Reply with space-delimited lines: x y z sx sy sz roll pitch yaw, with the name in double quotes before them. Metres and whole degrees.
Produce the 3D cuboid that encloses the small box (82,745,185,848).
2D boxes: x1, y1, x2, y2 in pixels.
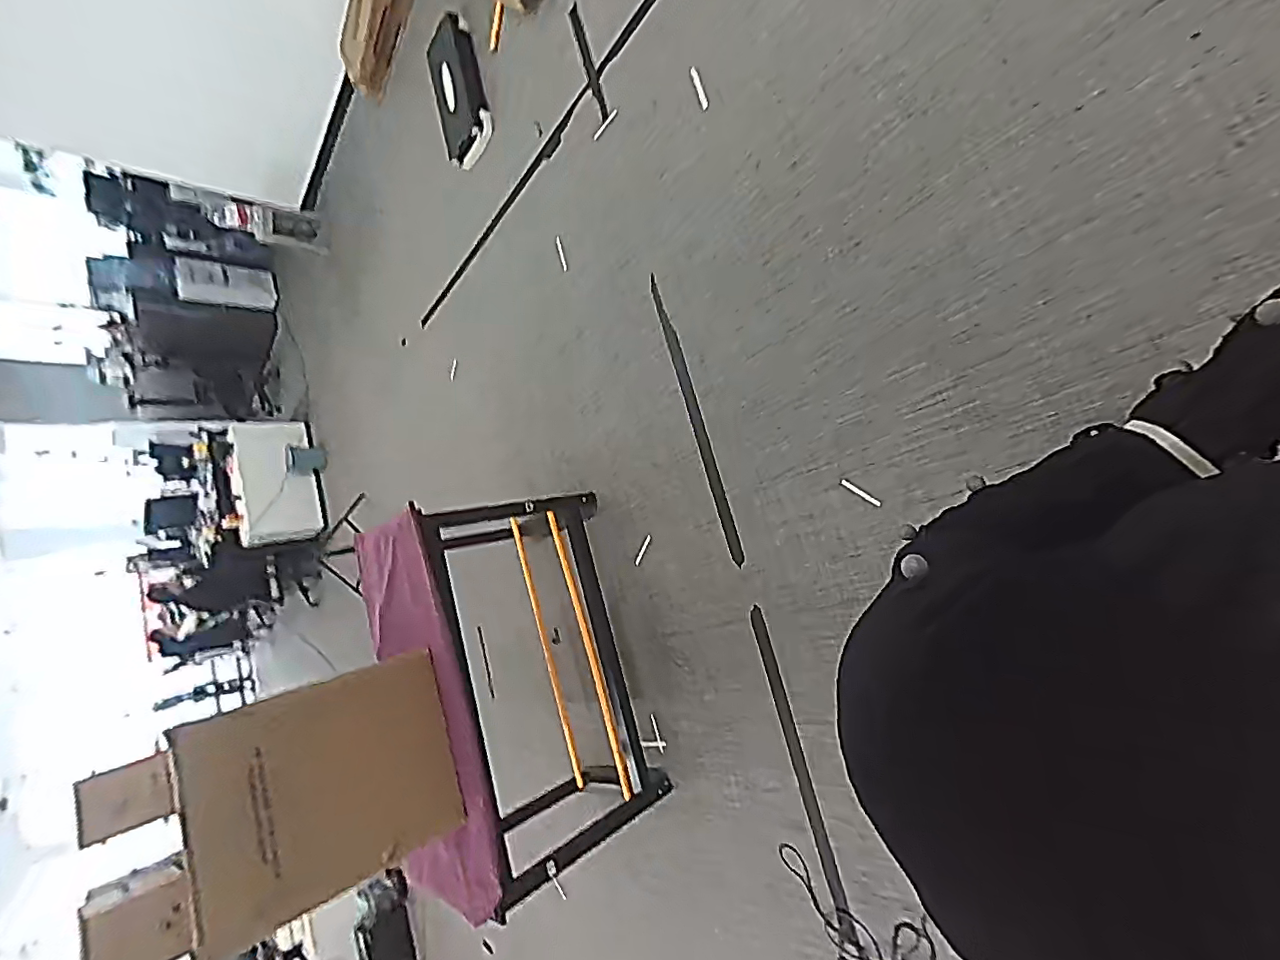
"small box" -1.264 0.784 1.357 0.179 0.176 0.168 -30 74 44
